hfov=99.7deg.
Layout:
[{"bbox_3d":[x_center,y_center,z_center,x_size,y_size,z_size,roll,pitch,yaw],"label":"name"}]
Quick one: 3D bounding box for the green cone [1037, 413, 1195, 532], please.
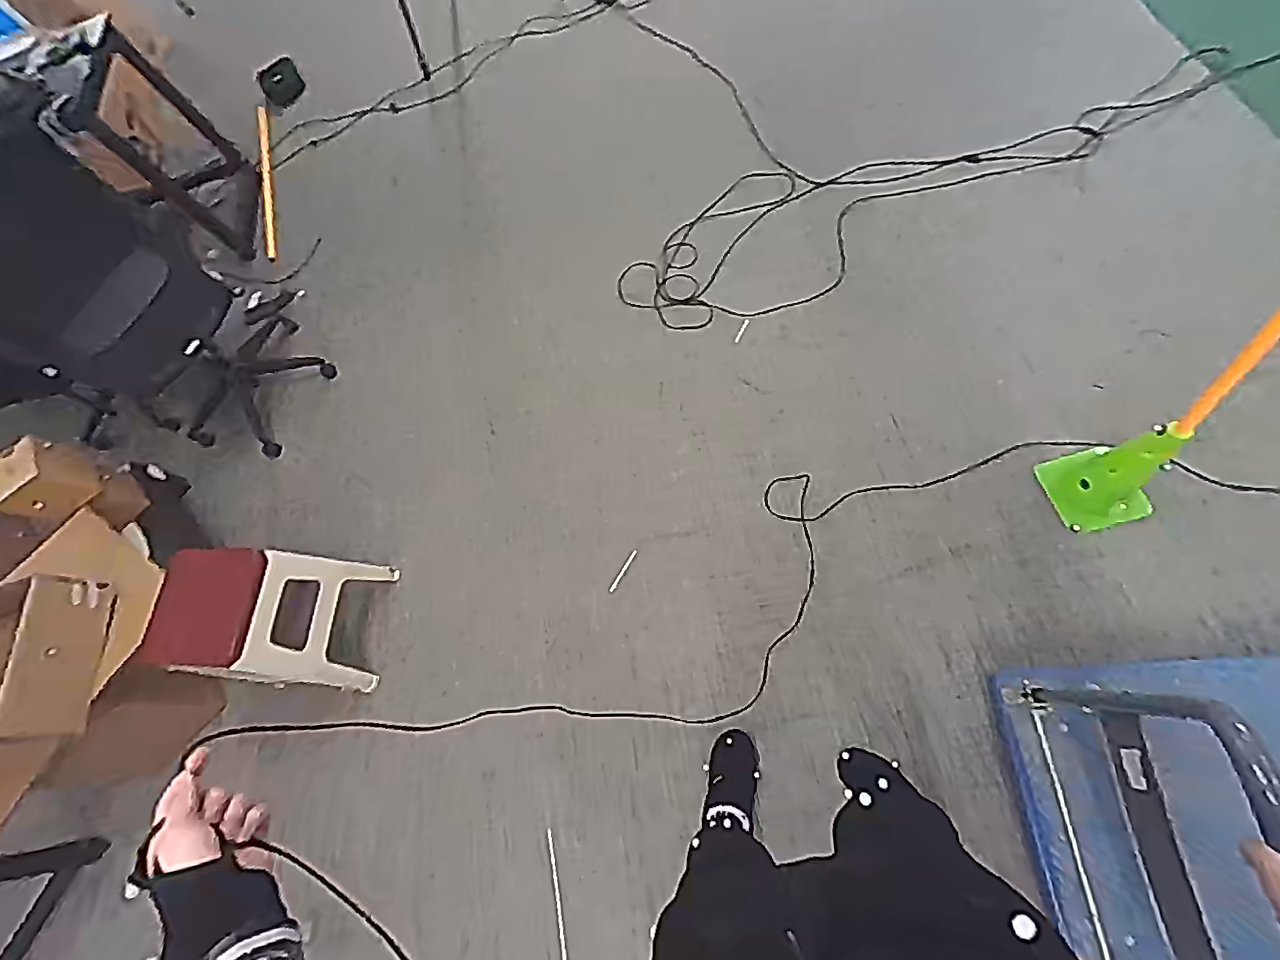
[{"bbox_3d":[1.116,-0.044,1.219,0.200,0.368,0.202,-18,65,7],"label":"green cone"}]
